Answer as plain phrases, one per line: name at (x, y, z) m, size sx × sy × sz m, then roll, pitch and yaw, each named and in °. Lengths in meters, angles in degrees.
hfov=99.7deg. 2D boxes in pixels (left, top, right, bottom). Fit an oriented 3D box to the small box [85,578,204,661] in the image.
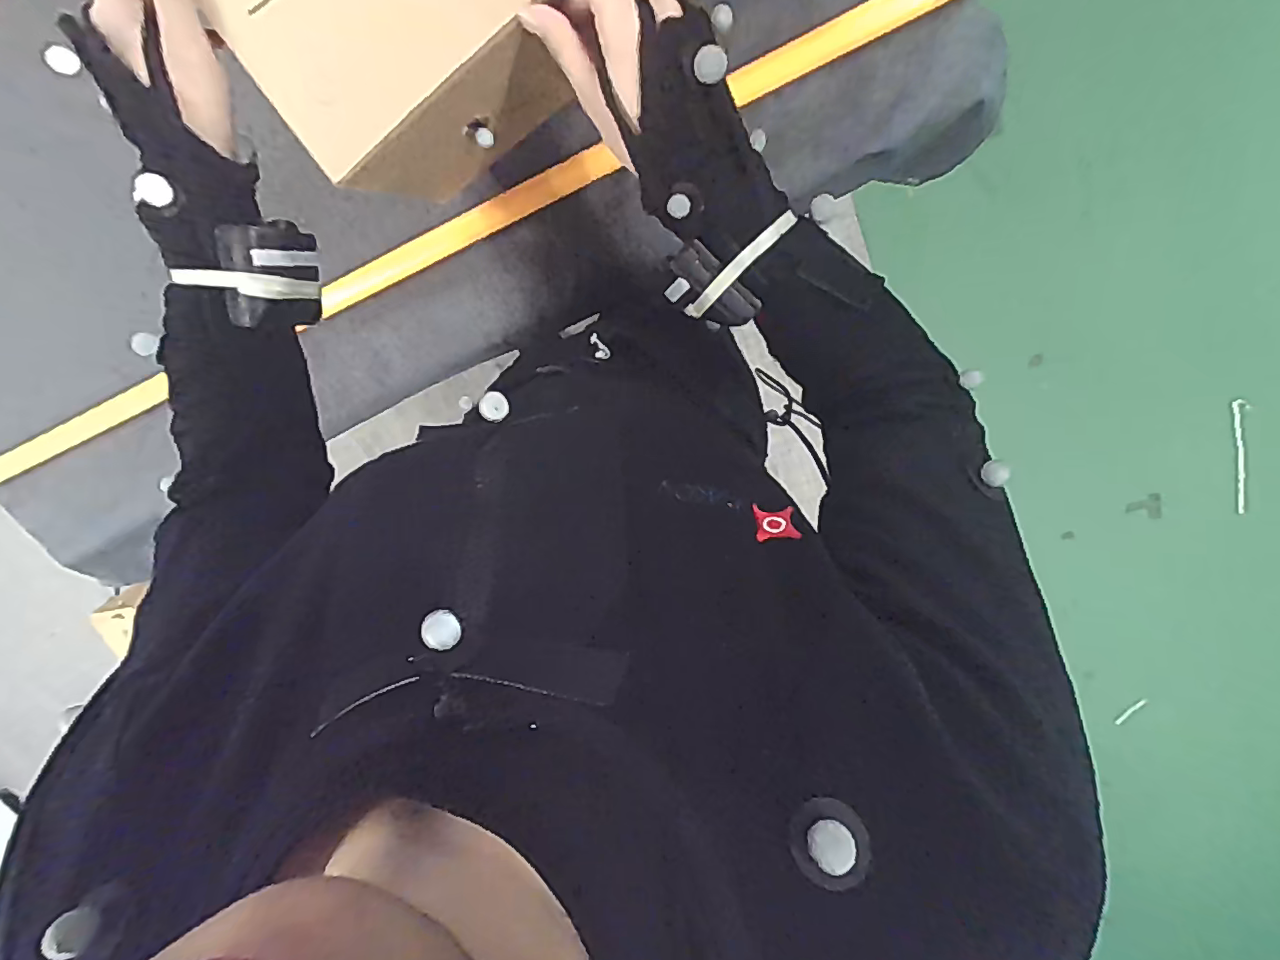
small box at (-1.501, 0.424, 1.654) m, size 0.168 × 0.176 × 0.179 m, roll -10°, pitch 113°, yaw 9°
